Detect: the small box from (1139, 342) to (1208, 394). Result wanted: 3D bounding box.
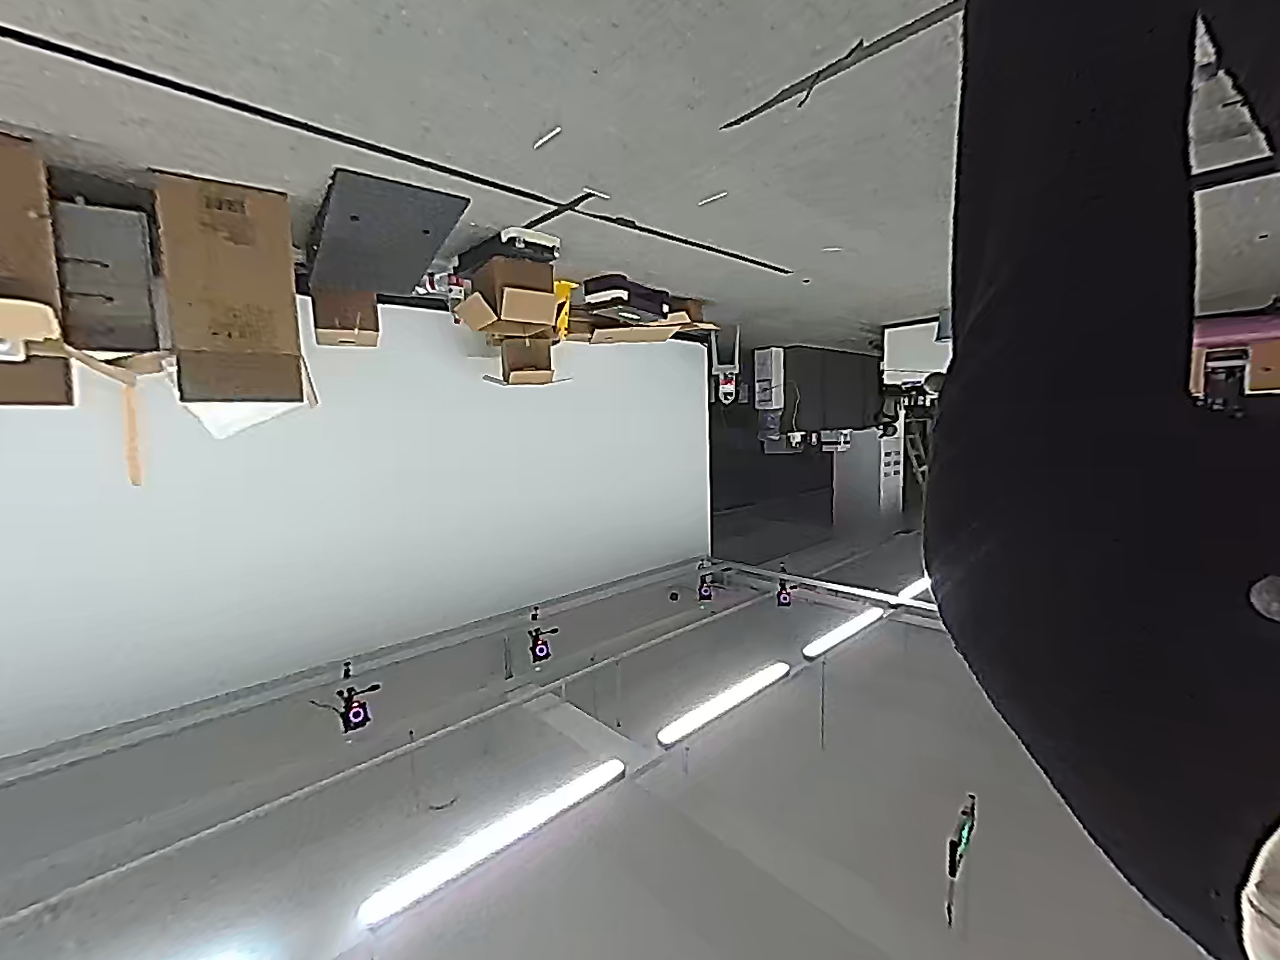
[{"bbox_3d":[1.968,-0.411,1.995,0.168,0.176,0.179,-5,-174,-44],"label":"small box"}]
